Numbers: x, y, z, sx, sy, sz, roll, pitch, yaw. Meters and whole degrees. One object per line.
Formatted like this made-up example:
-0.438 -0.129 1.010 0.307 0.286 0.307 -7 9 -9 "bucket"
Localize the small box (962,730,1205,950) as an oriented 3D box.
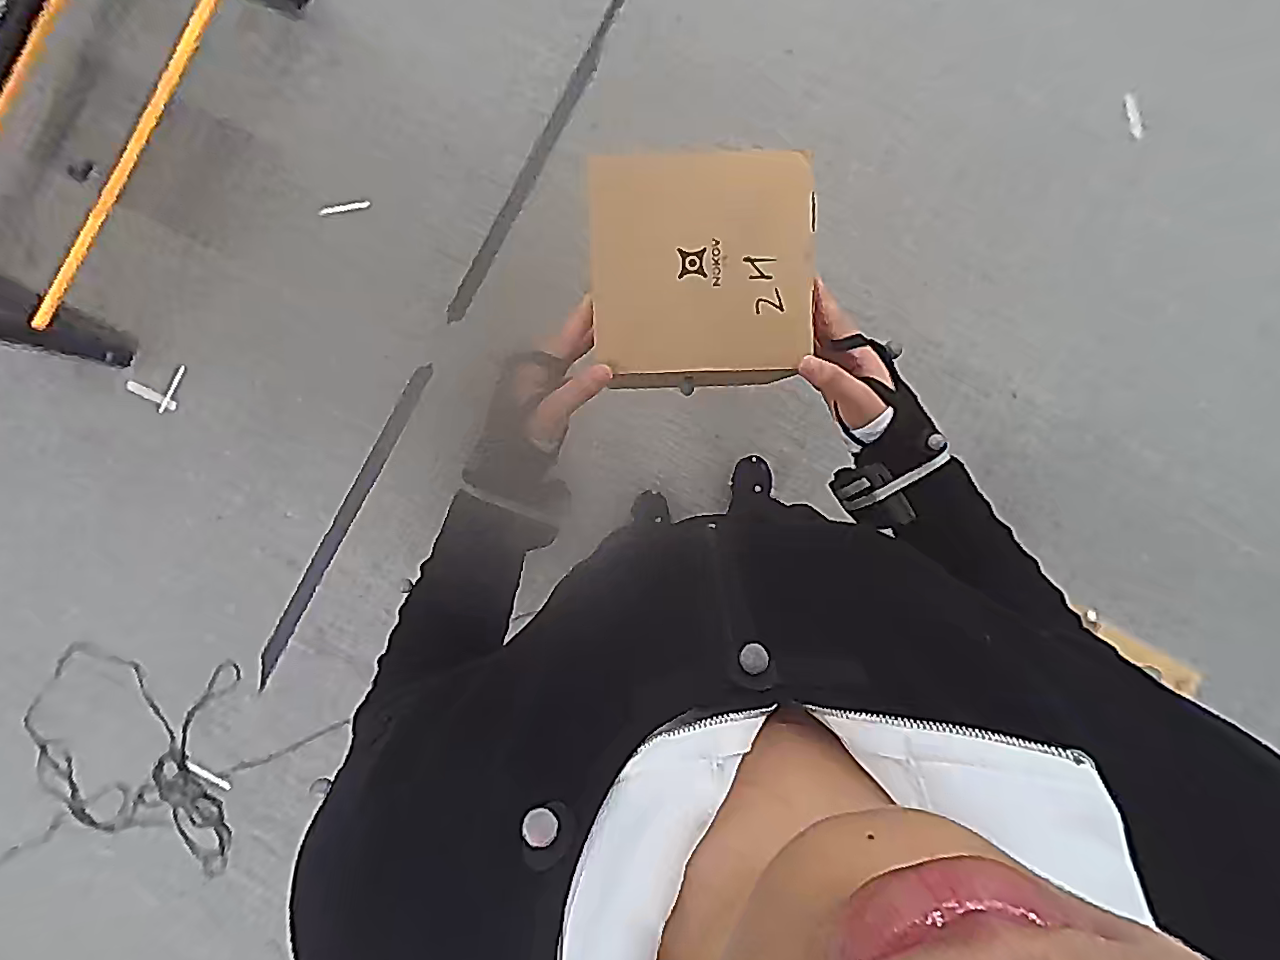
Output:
0.629 0.508 0.793 0.179 0.176 0.168 35 92 1 "small box"
